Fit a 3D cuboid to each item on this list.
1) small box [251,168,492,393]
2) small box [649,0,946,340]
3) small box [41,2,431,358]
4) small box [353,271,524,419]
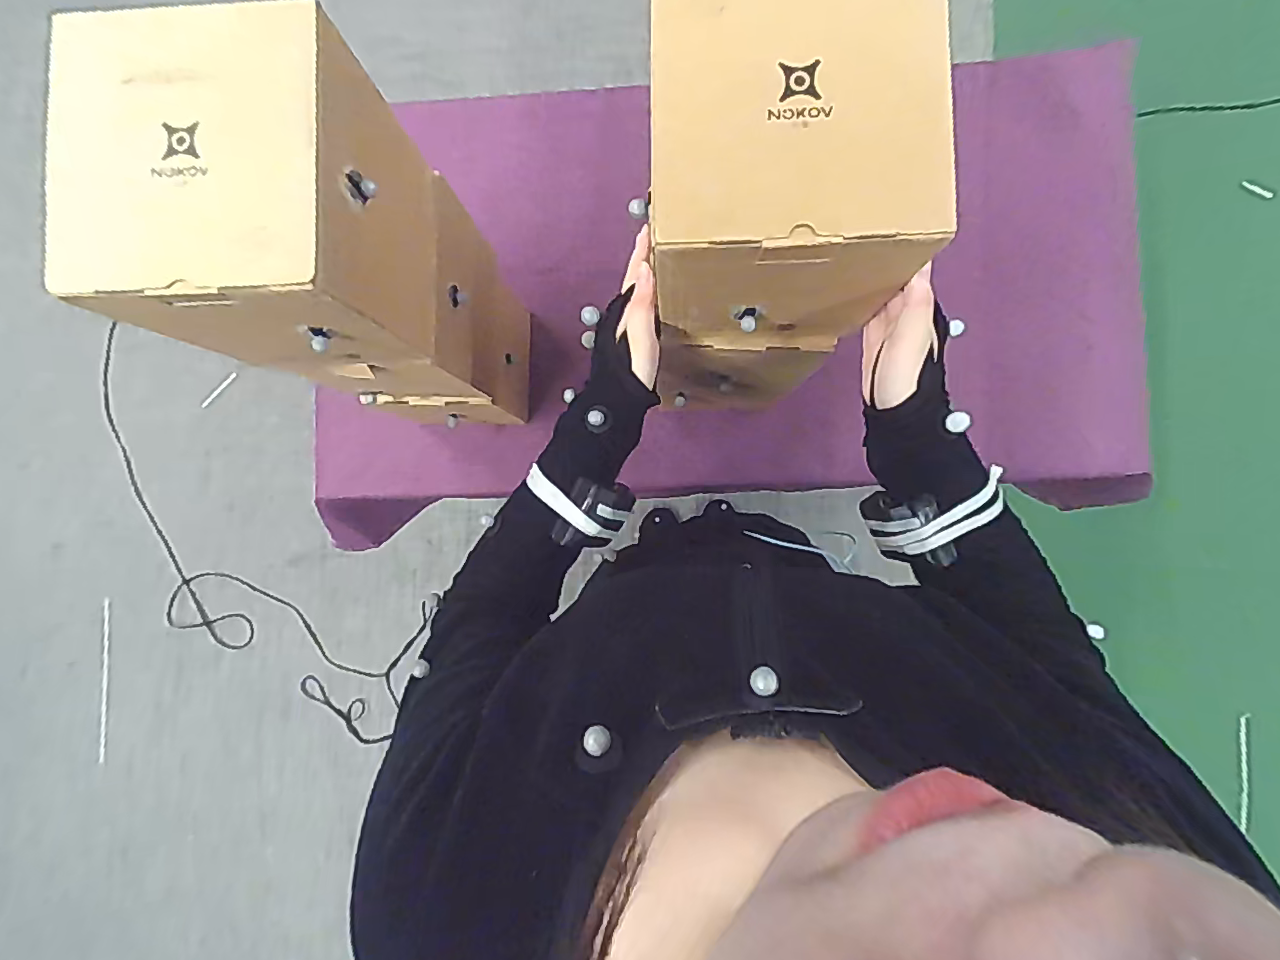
[{"bbox_3d":[-0.261,-0.191,0.561,0.168,0.176,0.179,2,87,2],"label":"small box"},{"bbox_3d":[0.090,-0.210,0.384,0.168,0.176,0.179,-1,88,2],"label":"small box"},{"bbox_3d":[-0.267,-0.192,0.398,0.168,0.176,0.179,0,88,1],"label":"small box"},{"bbox_3d":[-0.258,-0.178,0.725,0.168,0.176,0.179,2,89,2],"label":"small box"}]
